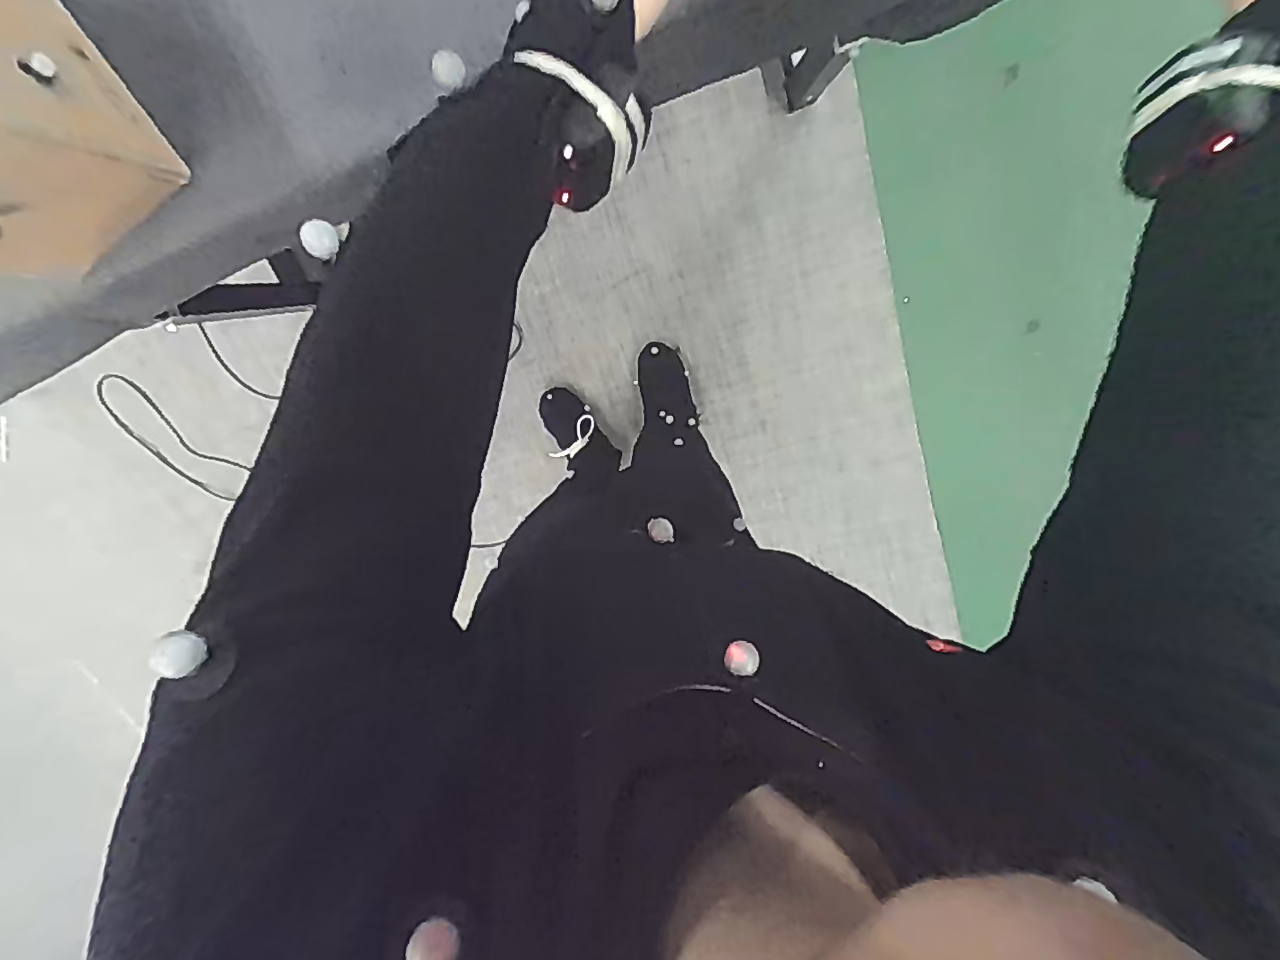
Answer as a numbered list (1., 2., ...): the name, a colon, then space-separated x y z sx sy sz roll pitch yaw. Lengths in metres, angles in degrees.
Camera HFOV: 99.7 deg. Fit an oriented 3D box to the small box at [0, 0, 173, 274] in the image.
1. small box: -0.529 -0.280 0.422 0.179 0.176 0.168 -29 105 13
